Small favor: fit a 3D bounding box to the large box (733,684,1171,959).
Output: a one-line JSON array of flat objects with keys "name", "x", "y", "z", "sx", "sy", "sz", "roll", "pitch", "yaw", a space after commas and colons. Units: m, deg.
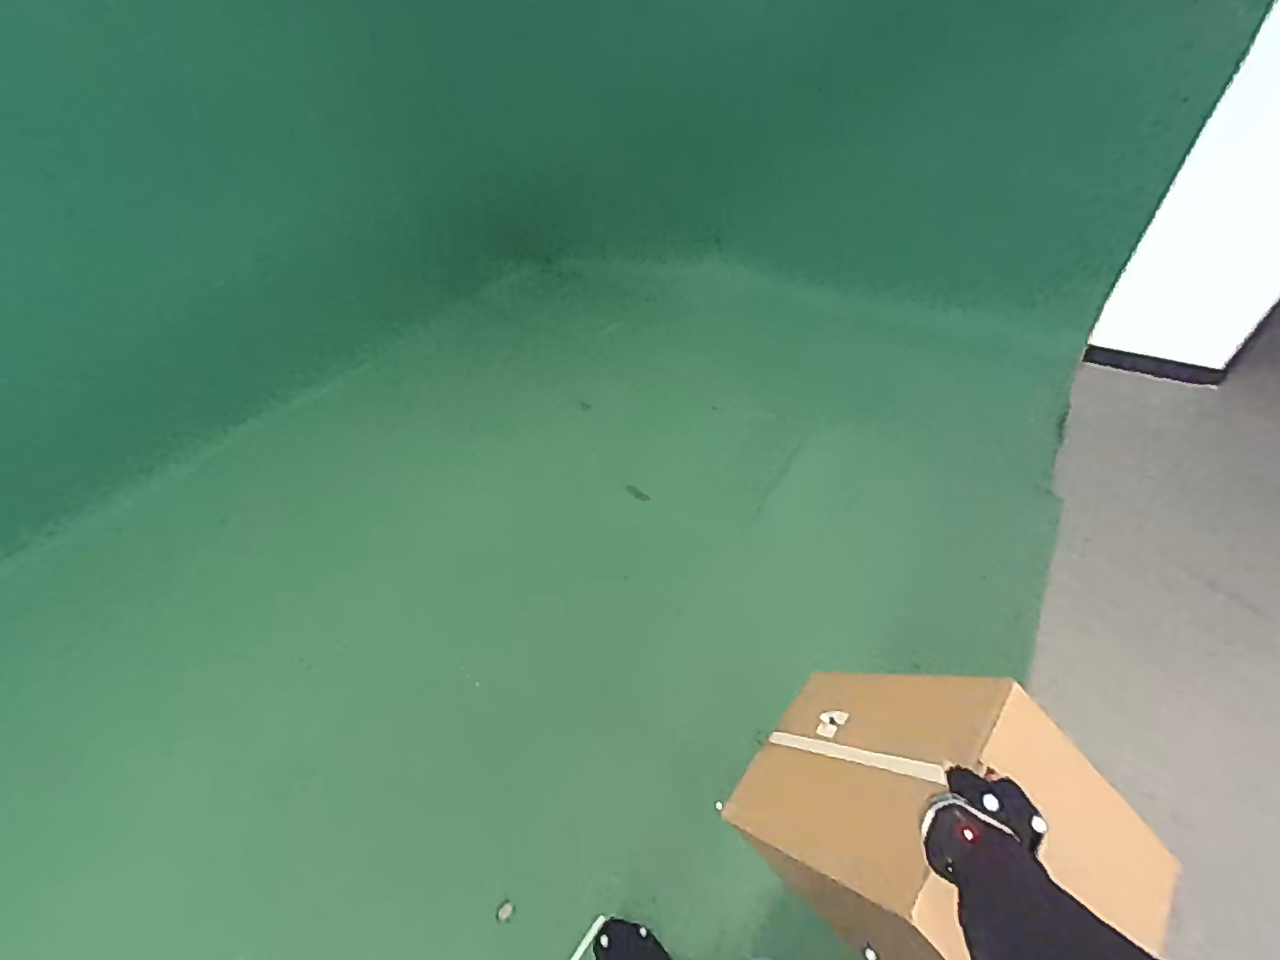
[{"name": "large box", "x": 0.419, "y": 0.529, "z": 0.792, "sx": 0.320, "sy": 0.408, "sz": 0.320, "roll": 47, "pitch": 63, "yaw": 2}]
